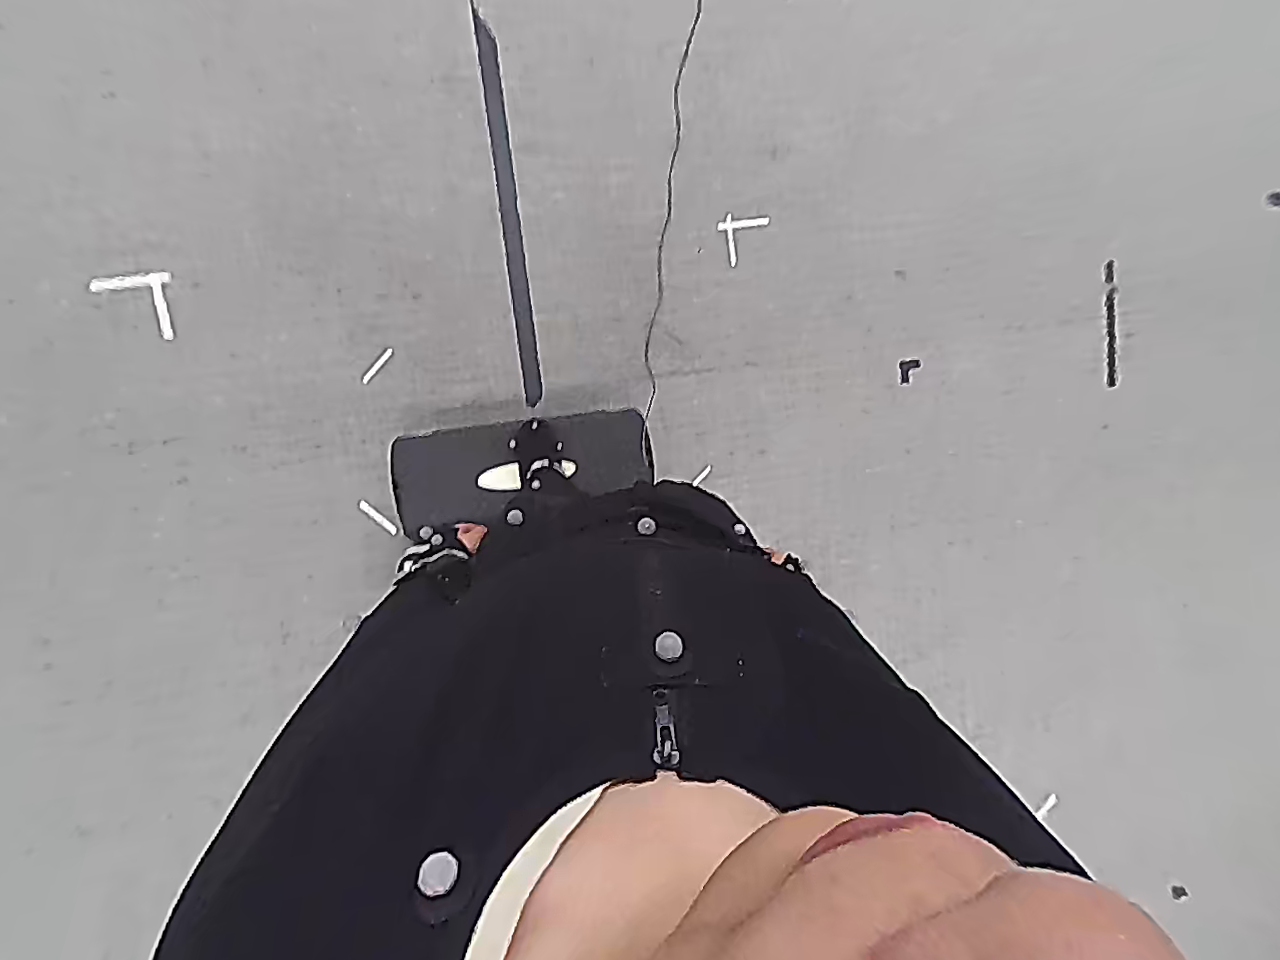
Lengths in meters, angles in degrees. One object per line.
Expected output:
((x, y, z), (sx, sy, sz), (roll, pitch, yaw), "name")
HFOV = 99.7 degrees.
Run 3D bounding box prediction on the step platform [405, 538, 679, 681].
((-0.241, 0.326, 1.407), (0.684, 0.204, 0.286), (-4, 92, -7), "step platform")
